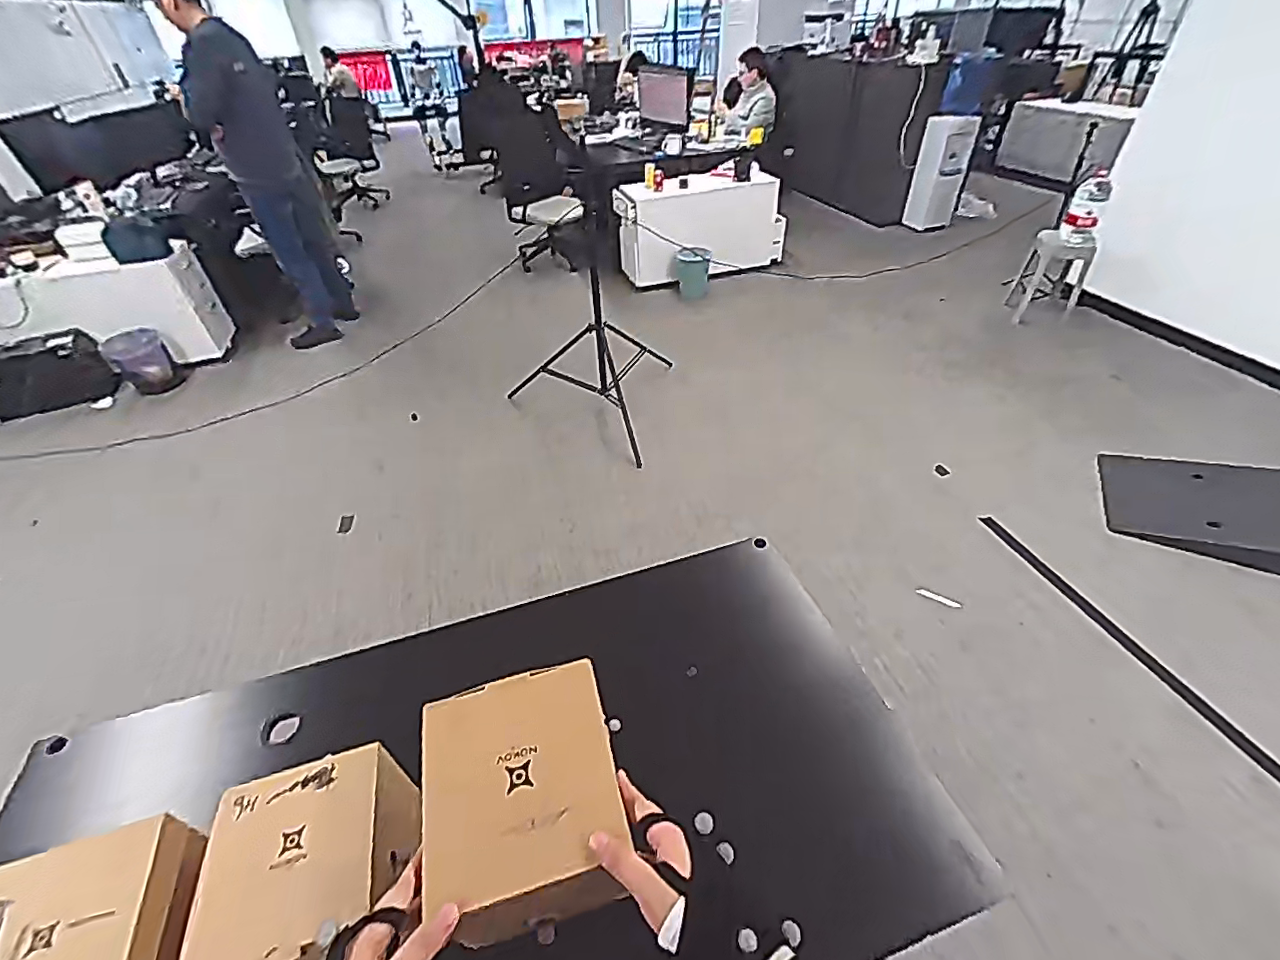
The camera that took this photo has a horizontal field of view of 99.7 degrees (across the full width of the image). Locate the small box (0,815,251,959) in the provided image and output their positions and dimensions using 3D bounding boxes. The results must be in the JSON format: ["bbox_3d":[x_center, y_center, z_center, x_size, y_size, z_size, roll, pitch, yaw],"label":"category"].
[{"bbox_3d":[-0.549,0.492,0.557,0.179,0.176,0.168,-15,42,-14],"label":"small box"}]

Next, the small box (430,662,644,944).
[{"bbox_3d":[-0.099,0.317,0.535,0.168,0.176,0.179,-15,46,-10],"label":"small box"}]
